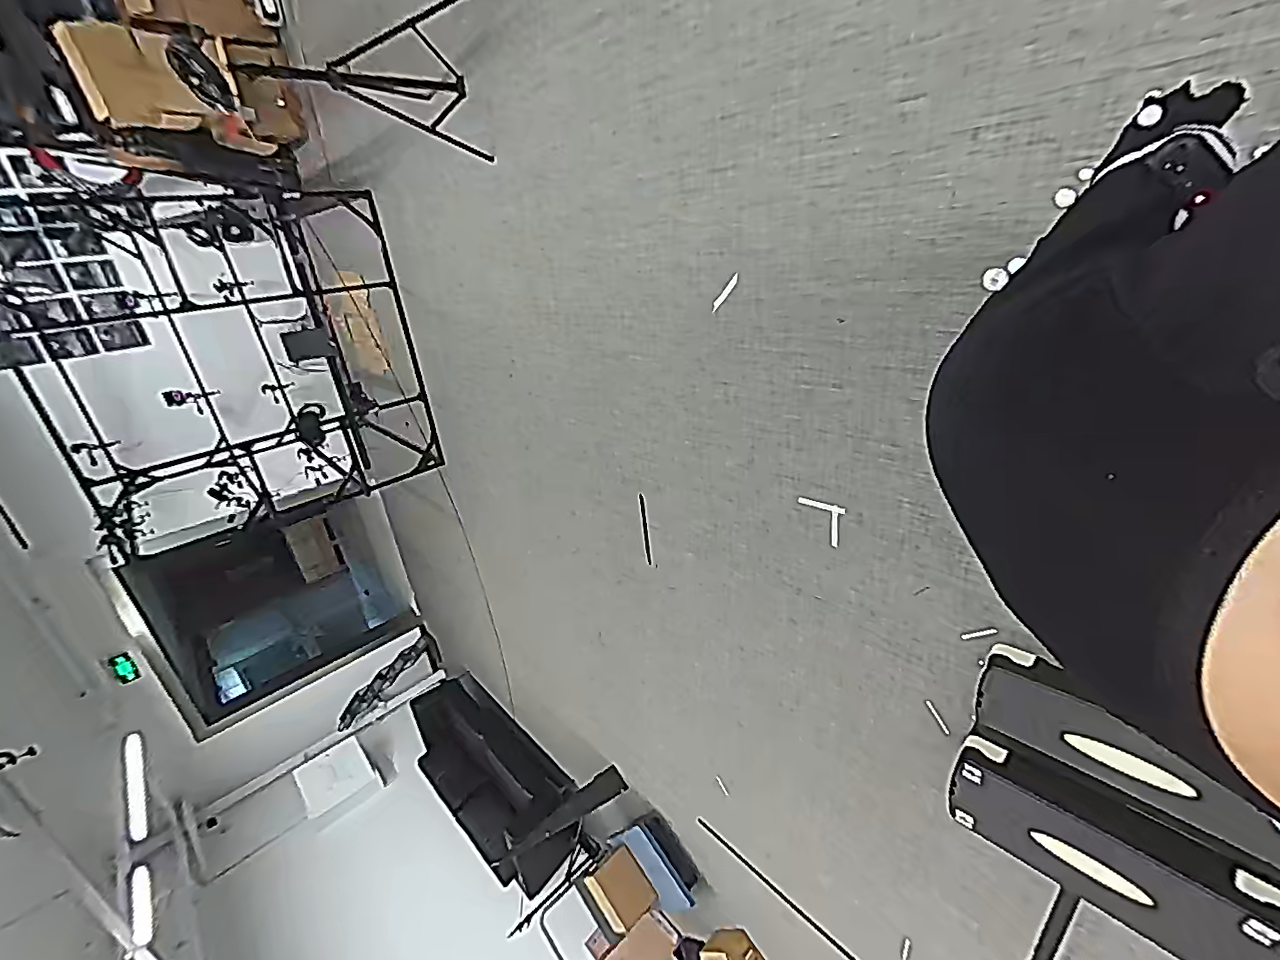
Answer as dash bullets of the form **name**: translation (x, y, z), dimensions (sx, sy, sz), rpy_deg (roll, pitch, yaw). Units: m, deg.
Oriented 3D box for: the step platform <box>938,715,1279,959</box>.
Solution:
- **step platform**: translation (1.197, 0.955, 1.465), dimensions (0.684, 0.204, 0.286), rpy_deg (19, 124, 46)
